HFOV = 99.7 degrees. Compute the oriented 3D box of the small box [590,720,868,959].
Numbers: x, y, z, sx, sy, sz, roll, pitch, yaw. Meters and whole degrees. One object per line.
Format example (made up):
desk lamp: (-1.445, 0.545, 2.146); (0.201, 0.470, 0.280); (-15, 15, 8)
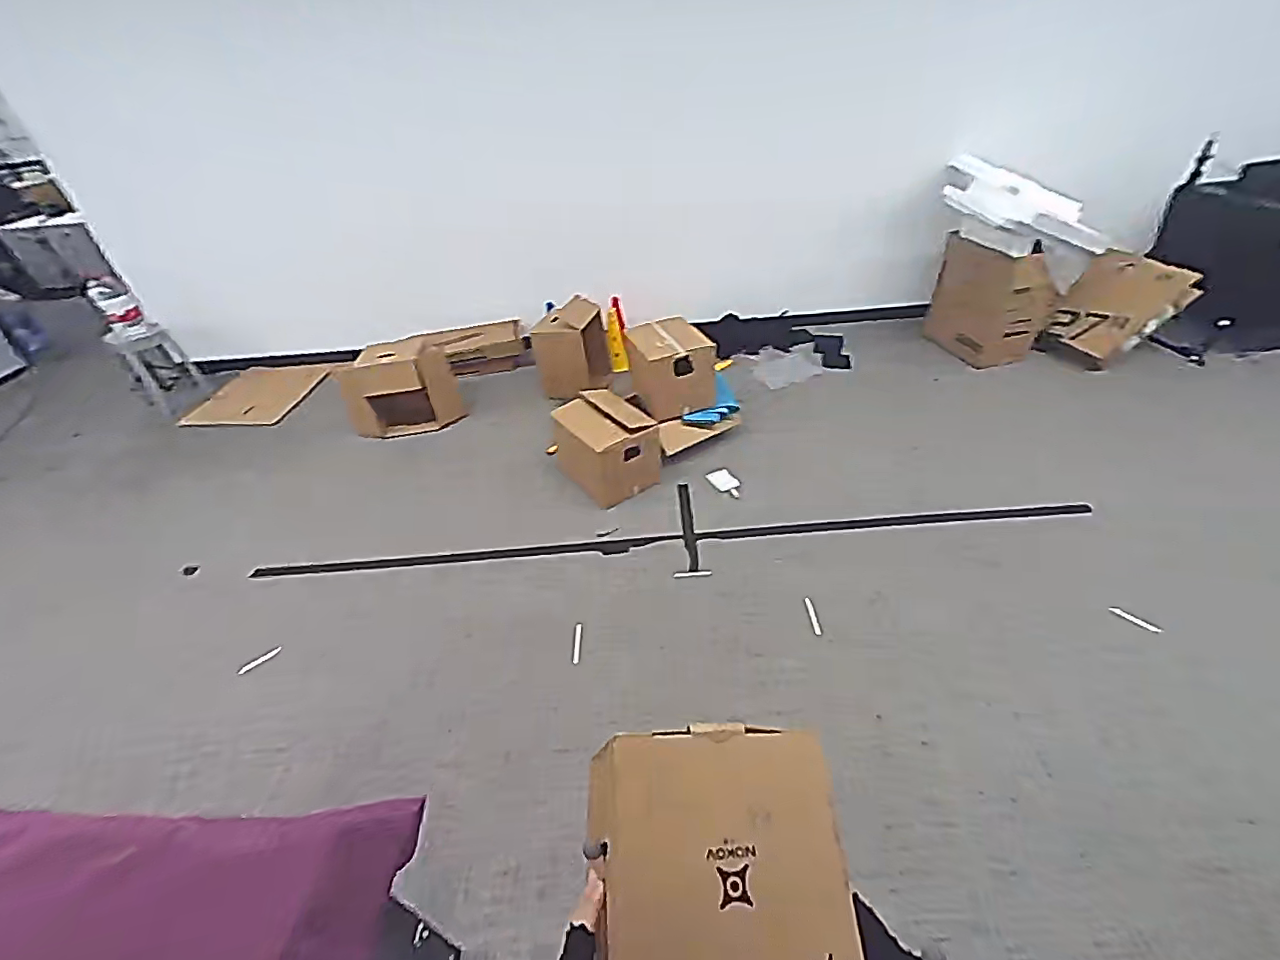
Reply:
small box: (0.050, 0.302, 0.432); (0.168, 0.176, 0.179); (4, 56, -10)
